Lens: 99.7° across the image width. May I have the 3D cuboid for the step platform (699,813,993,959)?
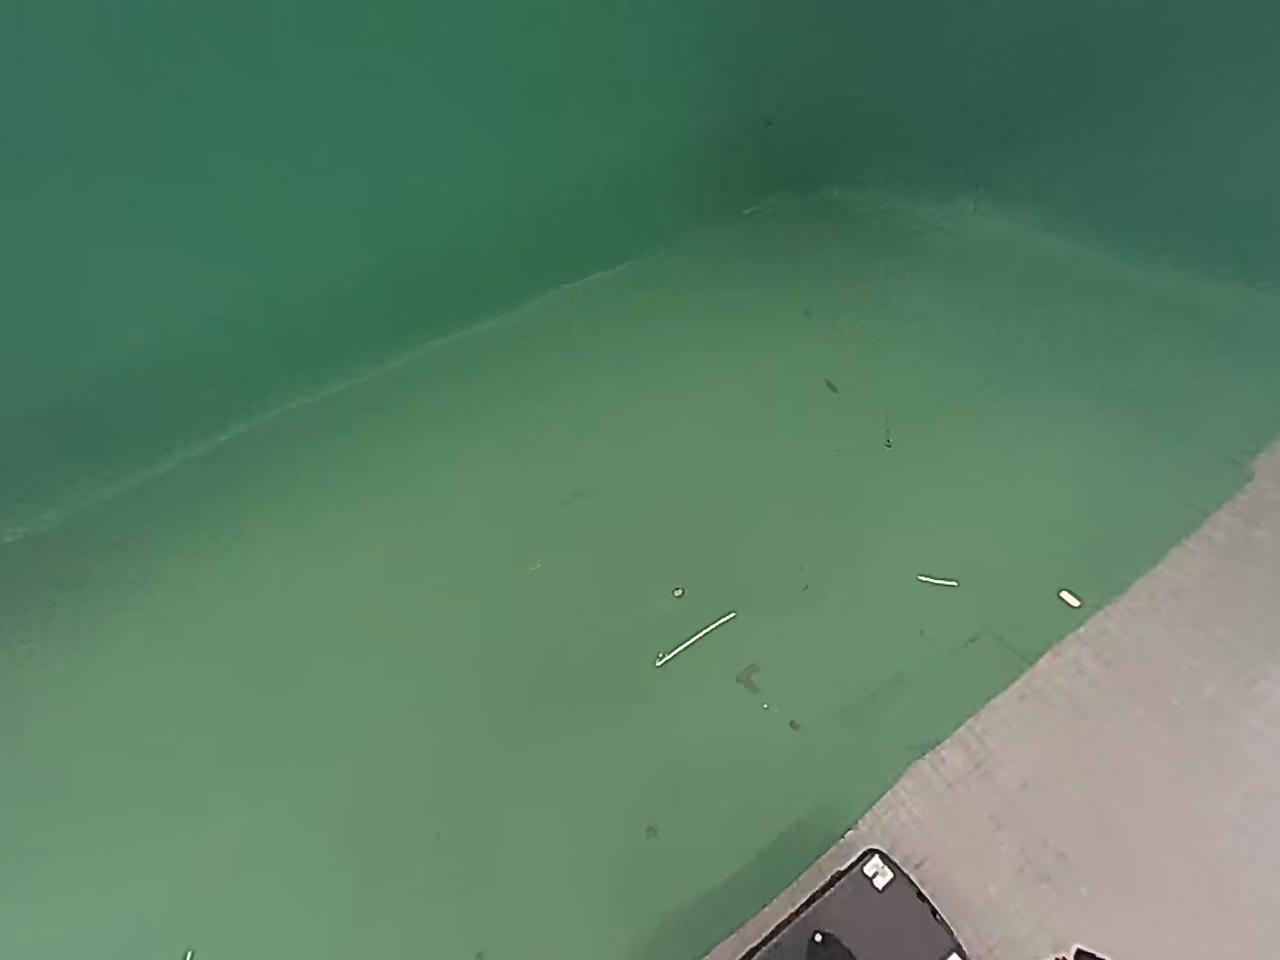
[{"bbox_3d":[0.283,0.944,0.978,0.684,0.204,0.286,-30,51,-14],"label":"step platform"}]
